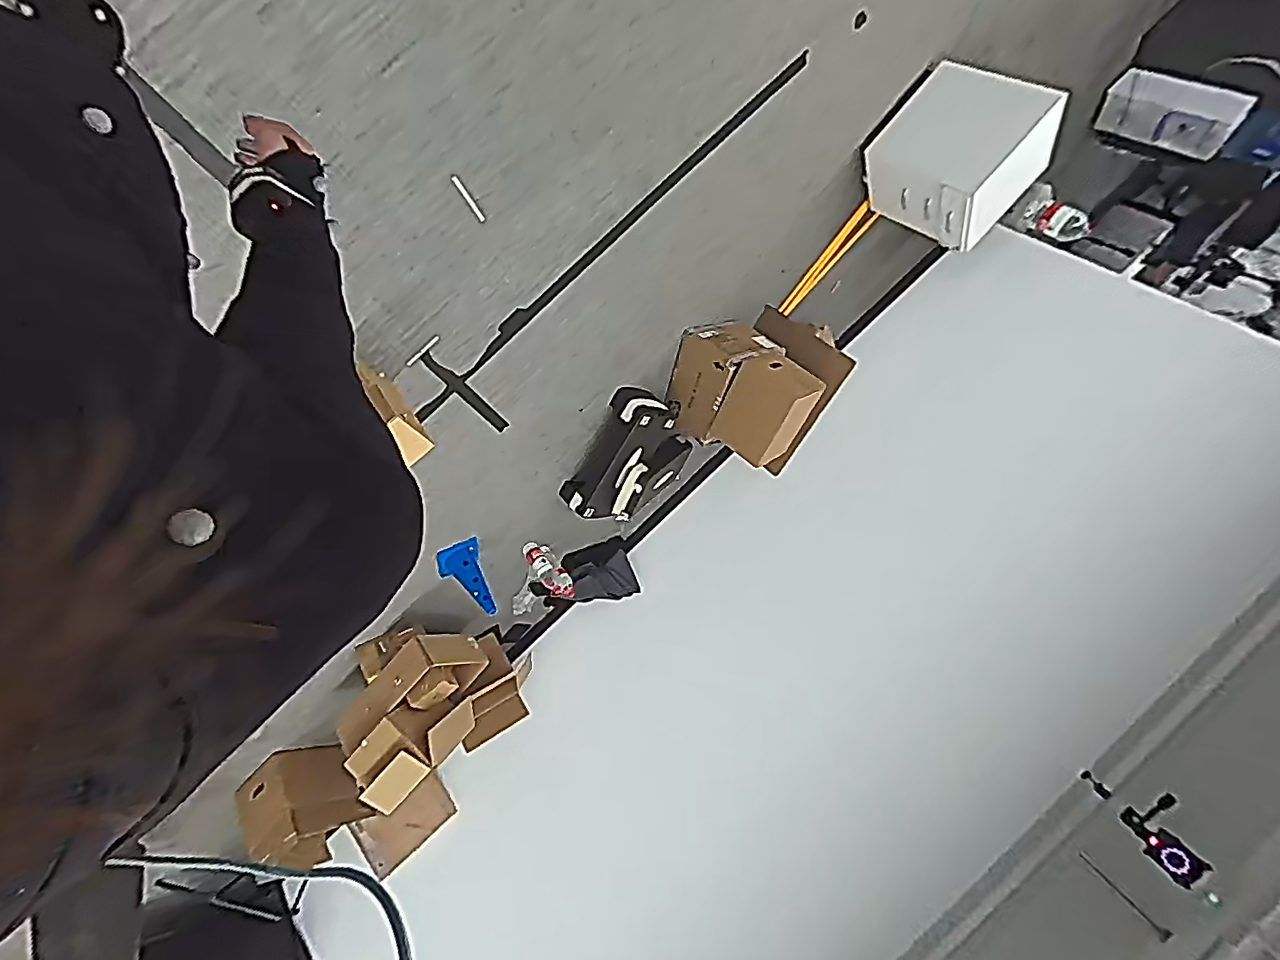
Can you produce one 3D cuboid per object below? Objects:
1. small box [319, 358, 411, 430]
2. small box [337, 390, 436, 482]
[{"bbox_3d":[-0.850,-0.236,1.661,0.179,0.176,0.168,-44,151,0],"label":"small box"},{"bbox_3d":[-0.746,-0.132,1.591,0.168,0.176,0.179,-41,150,-4],"label":"small box"}]
